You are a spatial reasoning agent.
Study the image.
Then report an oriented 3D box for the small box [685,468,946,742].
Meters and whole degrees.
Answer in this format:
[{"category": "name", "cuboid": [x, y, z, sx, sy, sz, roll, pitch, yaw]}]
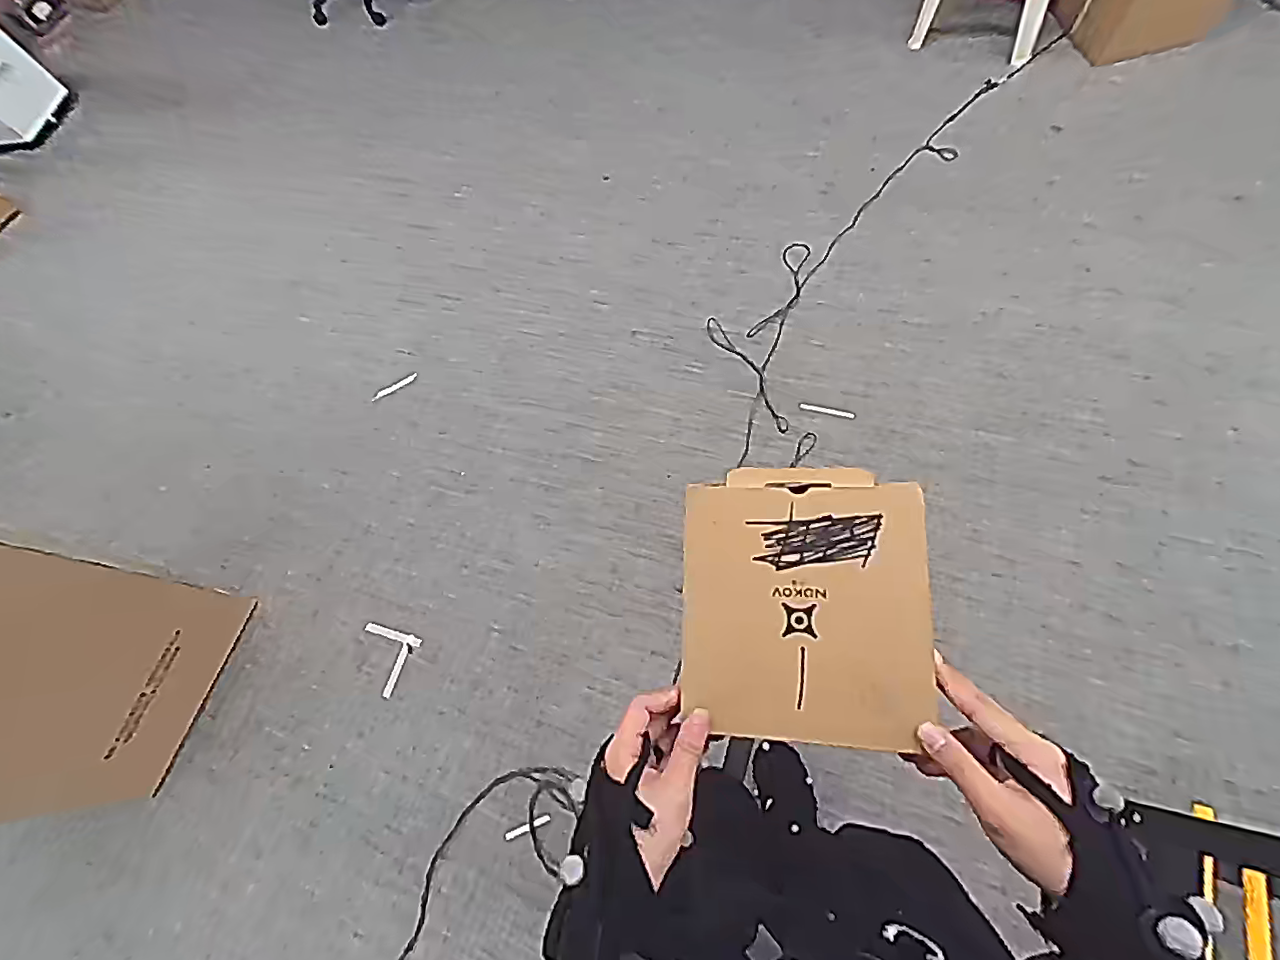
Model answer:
[{"category": "small box", "cuboid": [0.132, 0.096, 0.445, 0.168, 0.176, 0.179, 0, 77, 13]}]
